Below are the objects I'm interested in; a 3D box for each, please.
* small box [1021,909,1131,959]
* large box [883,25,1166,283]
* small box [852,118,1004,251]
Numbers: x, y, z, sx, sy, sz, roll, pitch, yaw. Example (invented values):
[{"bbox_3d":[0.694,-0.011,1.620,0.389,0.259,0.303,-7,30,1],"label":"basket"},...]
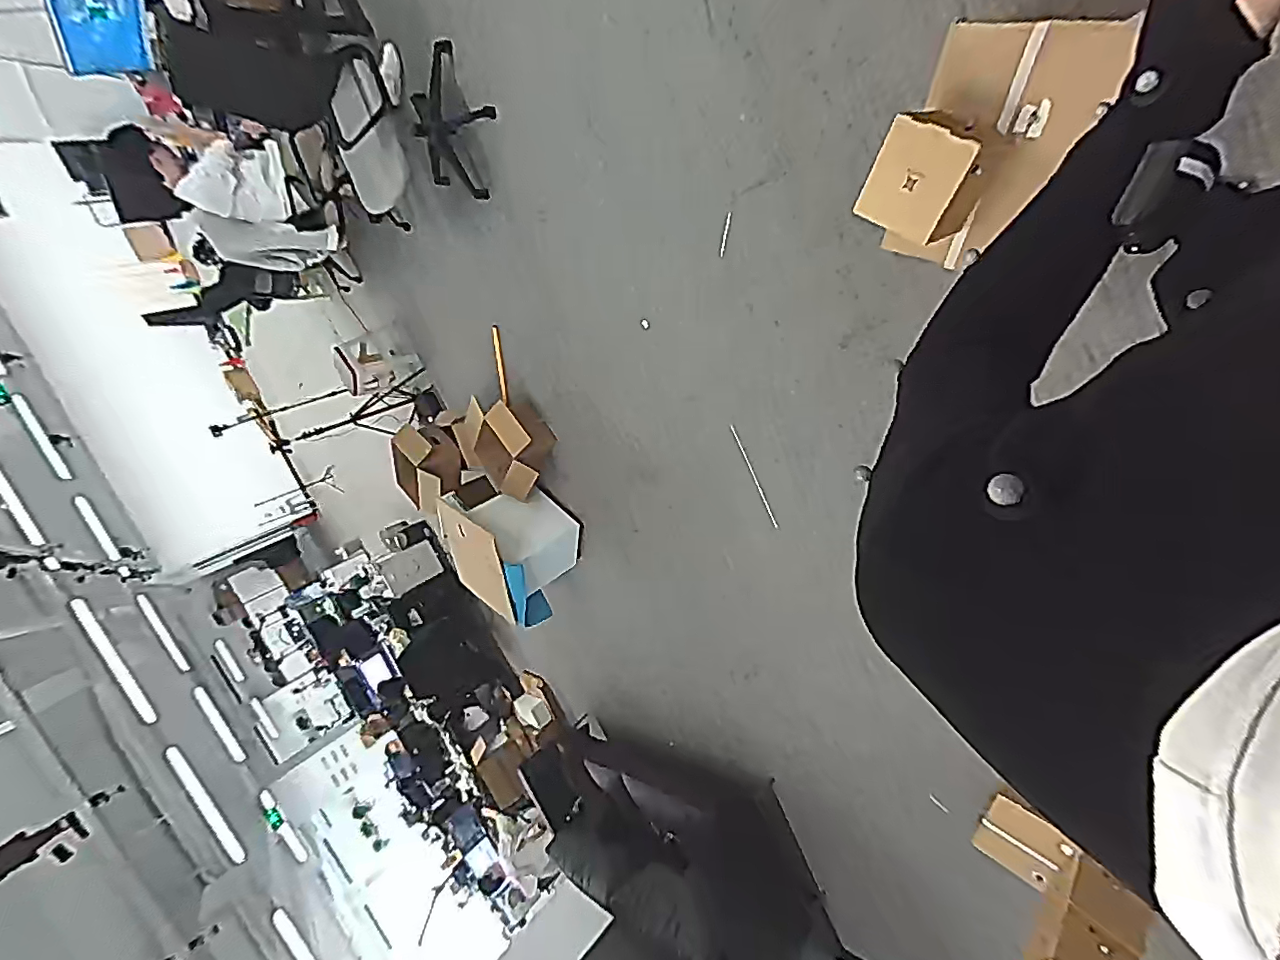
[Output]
[{"bbox_3d":[1.099,1.245,1.365,0.168,0.176,0.179,34,135,31],"label":"small box"},{"bbox_3d":[0.775,-0.671,1.127,0.320,0.320,0.408,32,134,32],"label":"large box"},{"bbox_3d":[0.555,-0.572,1.043,0.168,0.176,0.179,43,140,25],"label":"small box"}]
